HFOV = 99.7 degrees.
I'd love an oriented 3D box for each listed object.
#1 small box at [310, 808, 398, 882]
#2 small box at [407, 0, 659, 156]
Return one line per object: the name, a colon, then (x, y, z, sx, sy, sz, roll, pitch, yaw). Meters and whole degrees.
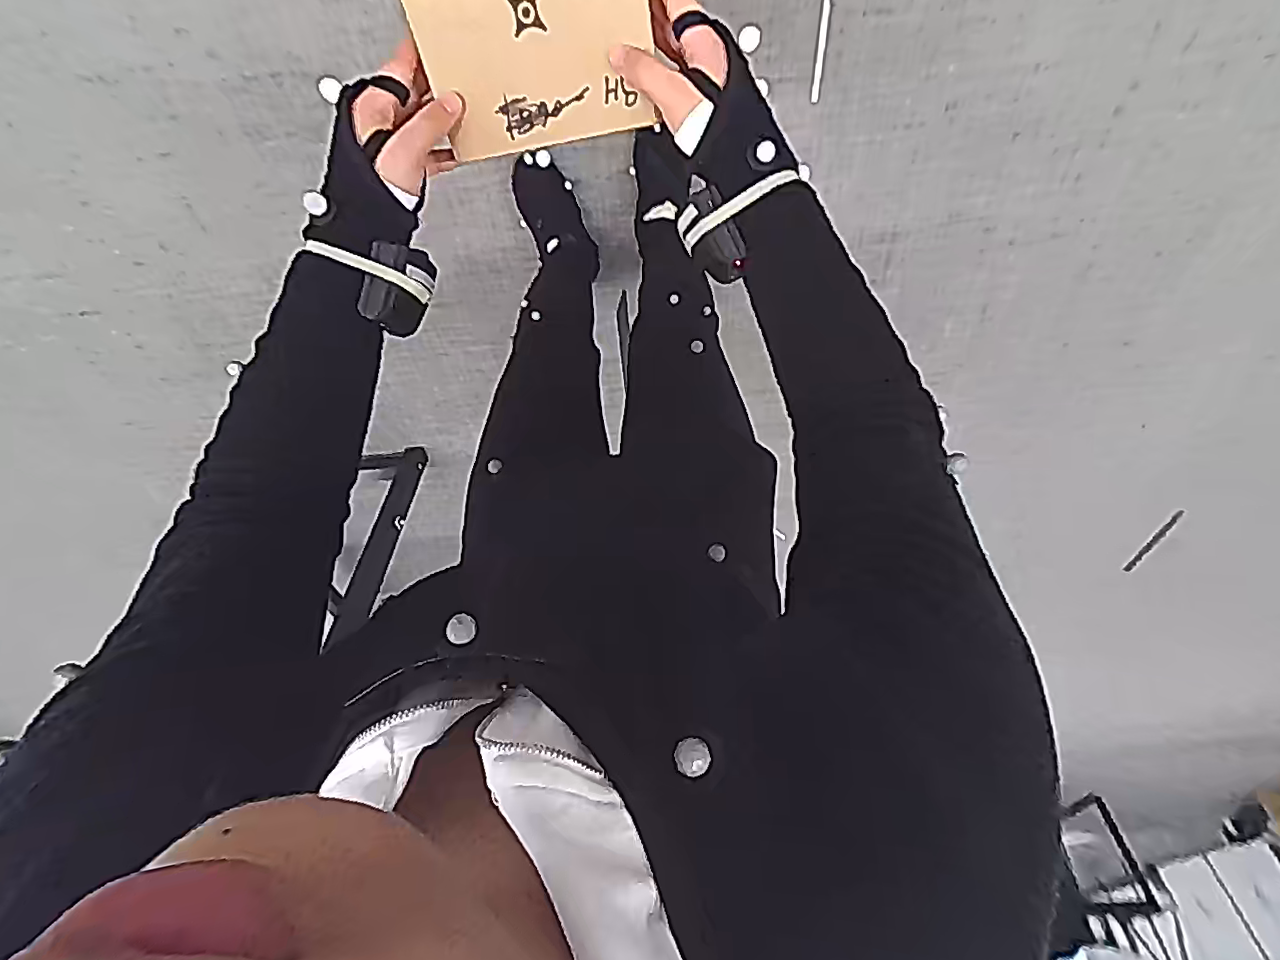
small box: (-0.878, 1.138, 1.687, 0.179, 0.176, 0.168, -2, 135, 2)
small box: (-0.079, -0.383, 0.437, 0.168, 0.176, 0.179, -8, 126, 7)
